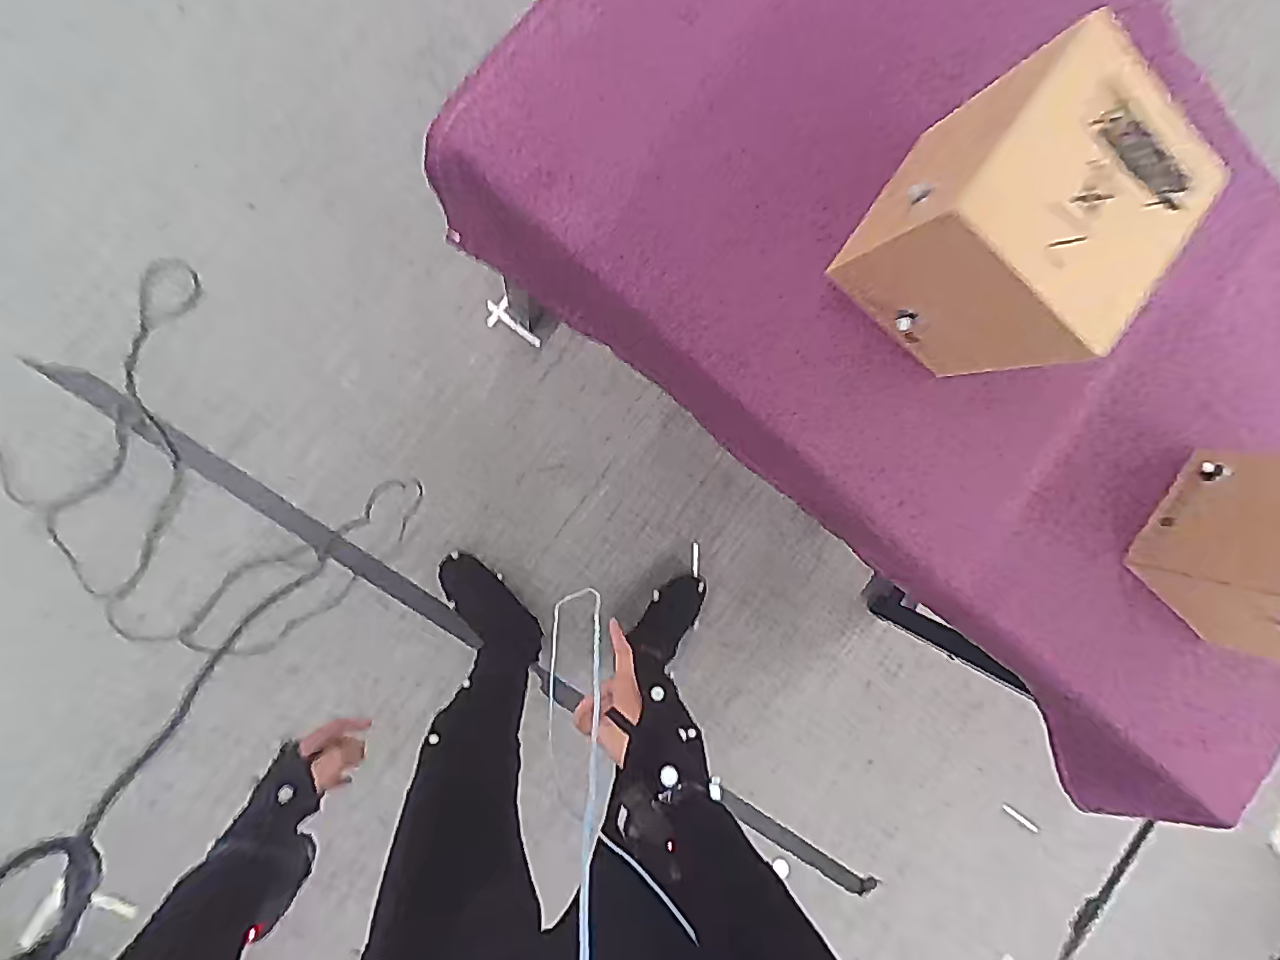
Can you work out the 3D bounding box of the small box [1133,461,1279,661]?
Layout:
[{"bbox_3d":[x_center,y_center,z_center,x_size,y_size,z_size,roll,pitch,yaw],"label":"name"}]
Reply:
[{"bbox_3d":[0.686,0.091,0.567,0.179,0.176,0.168,37,87,-12],"label":"small box"}]
